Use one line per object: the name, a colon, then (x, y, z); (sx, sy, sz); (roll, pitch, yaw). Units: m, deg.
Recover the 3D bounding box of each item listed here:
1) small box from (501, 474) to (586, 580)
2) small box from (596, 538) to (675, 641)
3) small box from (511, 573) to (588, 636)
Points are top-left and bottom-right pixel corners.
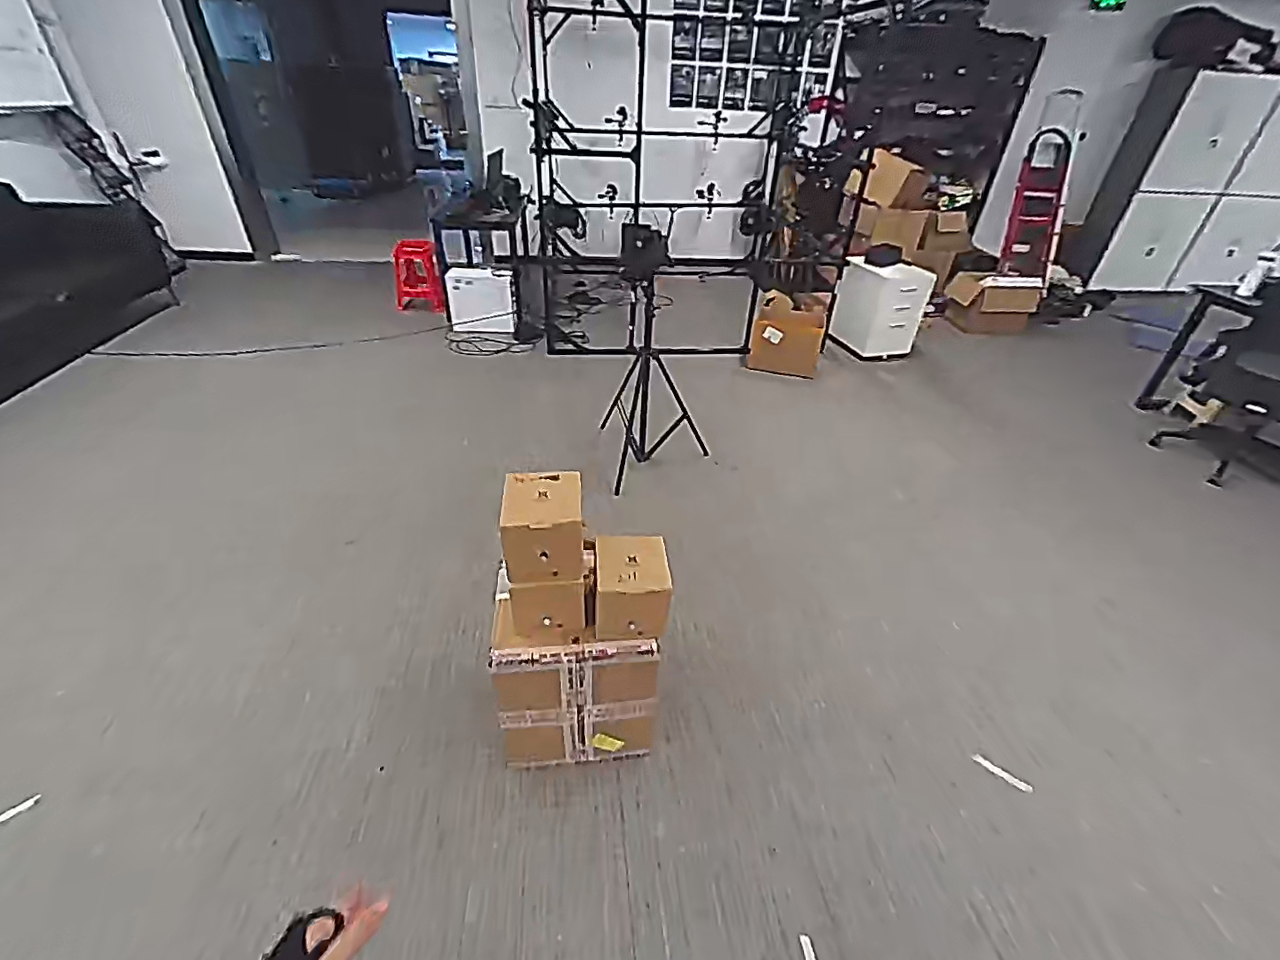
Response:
small box: (-0.206, 0.108, 1.196); (0.168, 0.176, 0.179); (-3, 39, -6)
small box: (-0.019, 0.258, 1.285); (0.168, 0.176, 0.179); (-1, 37, -7)
small box: (-0.212, 0.245, 1.286); (0.168, 0.176, 0.179); (-4, 39, -7)
